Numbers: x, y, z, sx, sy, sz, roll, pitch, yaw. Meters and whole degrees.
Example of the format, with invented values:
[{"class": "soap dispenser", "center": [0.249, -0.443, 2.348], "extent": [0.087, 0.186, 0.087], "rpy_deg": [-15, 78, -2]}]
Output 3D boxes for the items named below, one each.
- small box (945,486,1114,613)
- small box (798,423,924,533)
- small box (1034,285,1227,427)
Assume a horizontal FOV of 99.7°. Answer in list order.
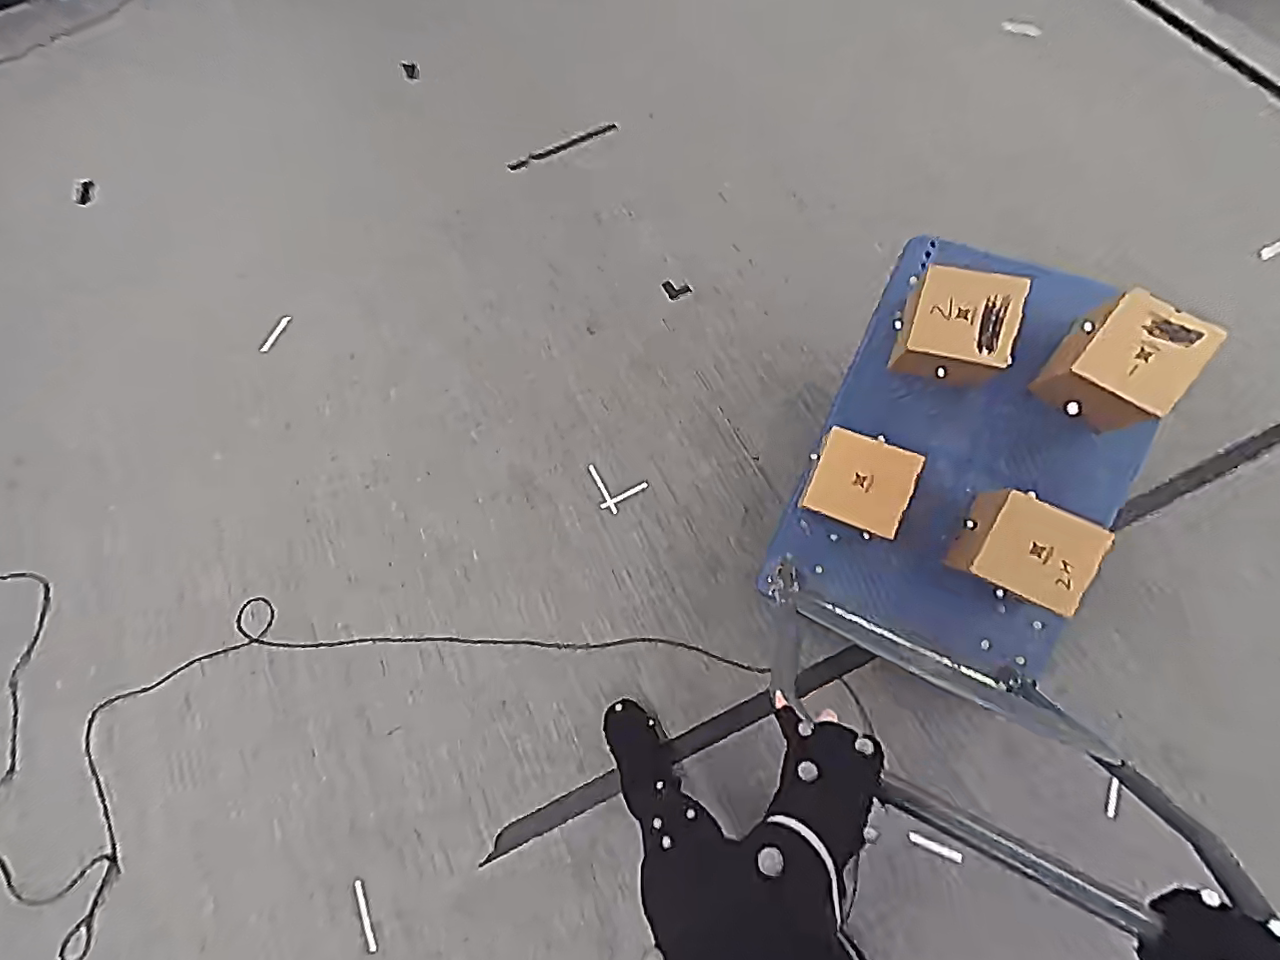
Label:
[{"class": "small box", "center": [0.714, 0.126, 1.020], "extent": [0.179, 0.176, 0.168], "rpy_deg": [28, 94, 13]}, {"class": "small box", "center": [0.433, 0.000, 1.093], "extent": [0.179, 0.176, 0.168], "rpy_deg": [22, 92, 12]}, {"class": "small box", "center": [0.884, -0.219, 1.000], "extent": [0.168, 0.176, 0.179], "rpy_deg": [36, 96, 12]}]
